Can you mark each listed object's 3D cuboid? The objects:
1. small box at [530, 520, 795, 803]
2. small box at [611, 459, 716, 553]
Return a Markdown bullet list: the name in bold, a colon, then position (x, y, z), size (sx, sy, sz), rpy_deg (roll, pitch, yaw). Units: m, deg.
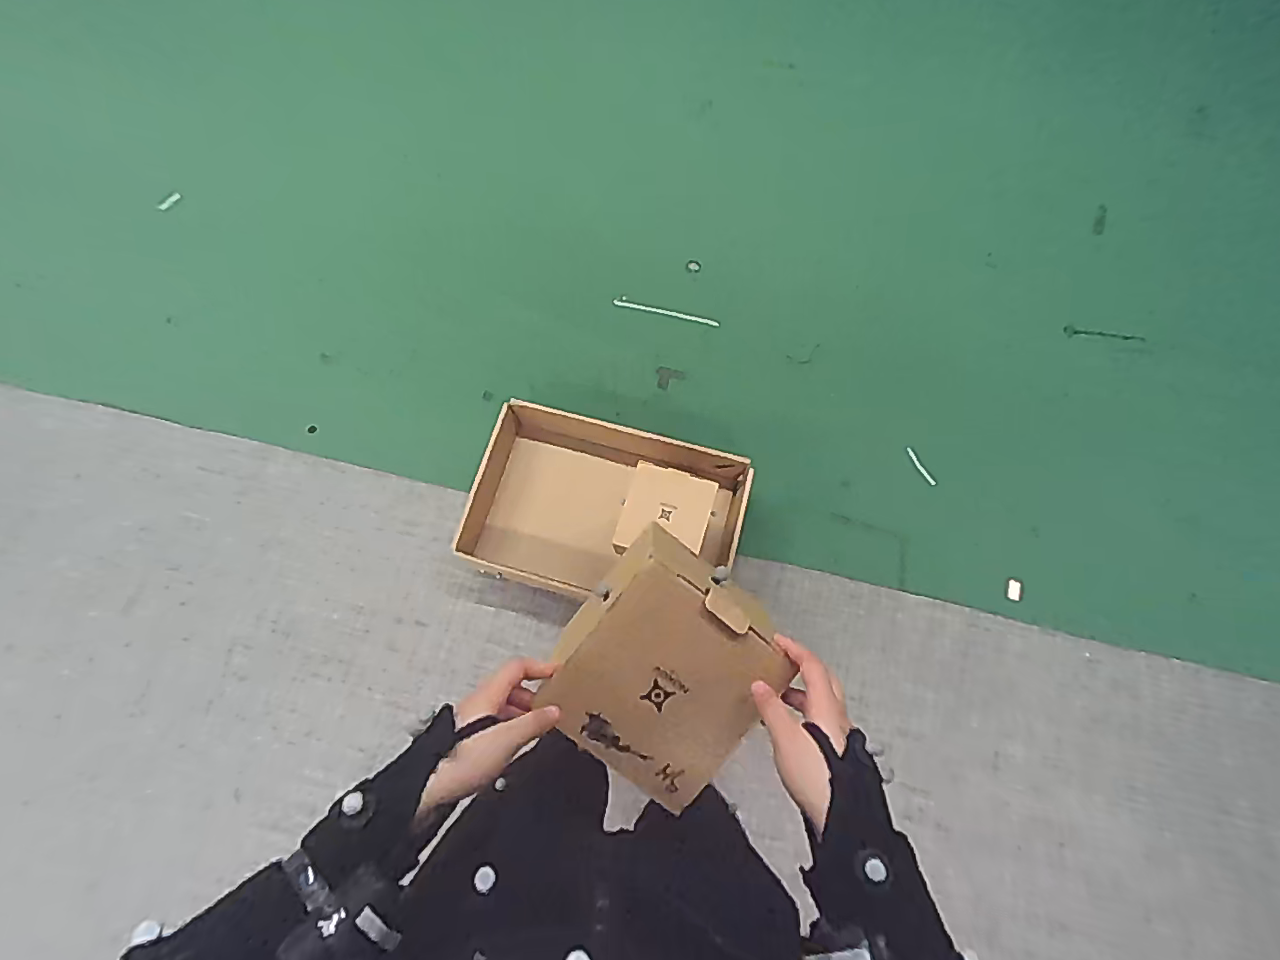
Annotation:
- **small box**: position (0.019, 0.160, 0.542), size (0.168, 0.176, 0.179), rpy_deg (38, 95, -2)
- **small box**: position (0.046, 0.080, 1.100), size (0.168, 0.176, 0.179), rpy_deg (16, 76, 6)
